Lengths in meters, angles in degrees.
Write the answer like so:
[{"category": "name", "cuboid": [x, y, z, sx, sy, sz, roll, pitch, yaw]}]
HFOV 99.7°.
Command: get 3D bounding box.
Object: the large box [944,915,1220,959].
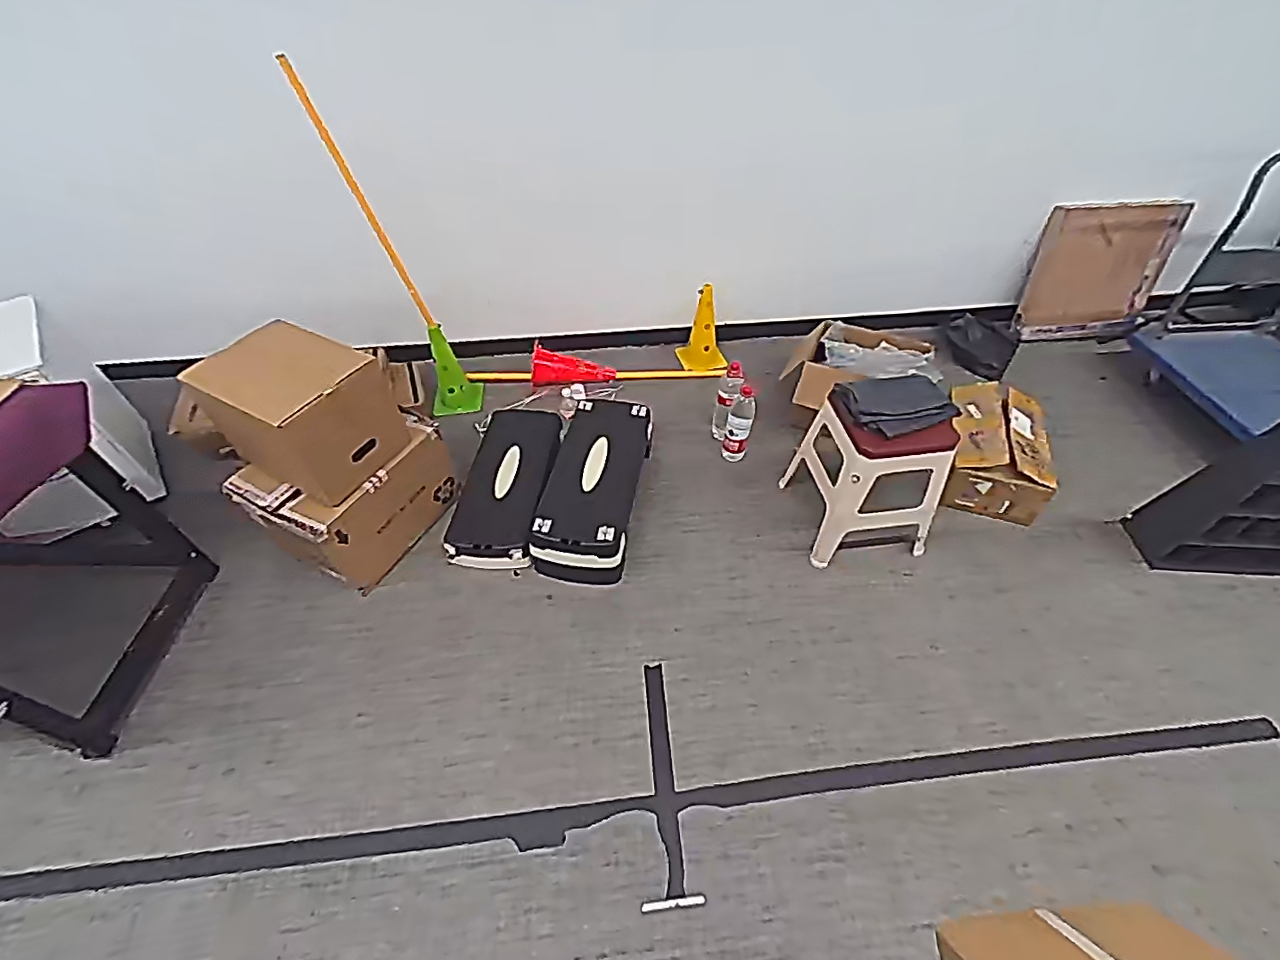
[{"category": "large box", "cuboid": [0.594, 0.741, 0.552, 0.320, 0.408, 0.320, -4, 78, -2]}]
